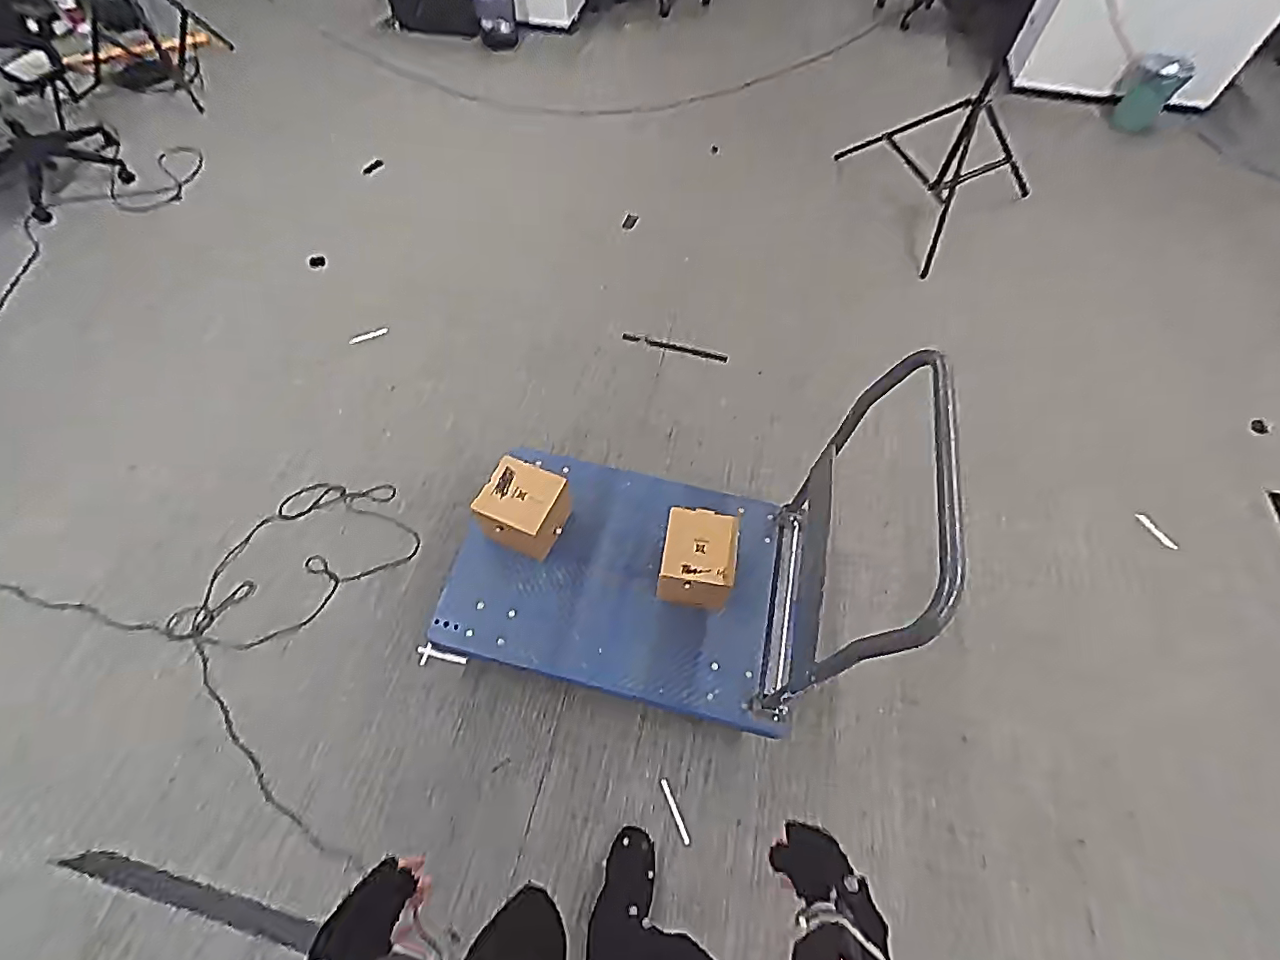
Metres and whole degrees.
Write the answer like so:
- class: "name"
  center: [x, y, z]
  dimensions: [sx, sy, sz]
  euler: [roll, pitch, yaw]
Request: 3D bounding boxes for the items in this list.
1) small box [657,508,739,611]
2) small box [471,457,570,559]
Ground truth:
- class: "small box"
  center: [0.135, 0.194, 1.302]
  dimensions: [0.168, 0.176, 0.179]
  euler: [9, 58, 4]
- class: "small box"
  center: [-0.290, 0.075, 1.358]
  dimensions: [0.179, 0.176, 0.168]
  euler: [22, 61, 10]
